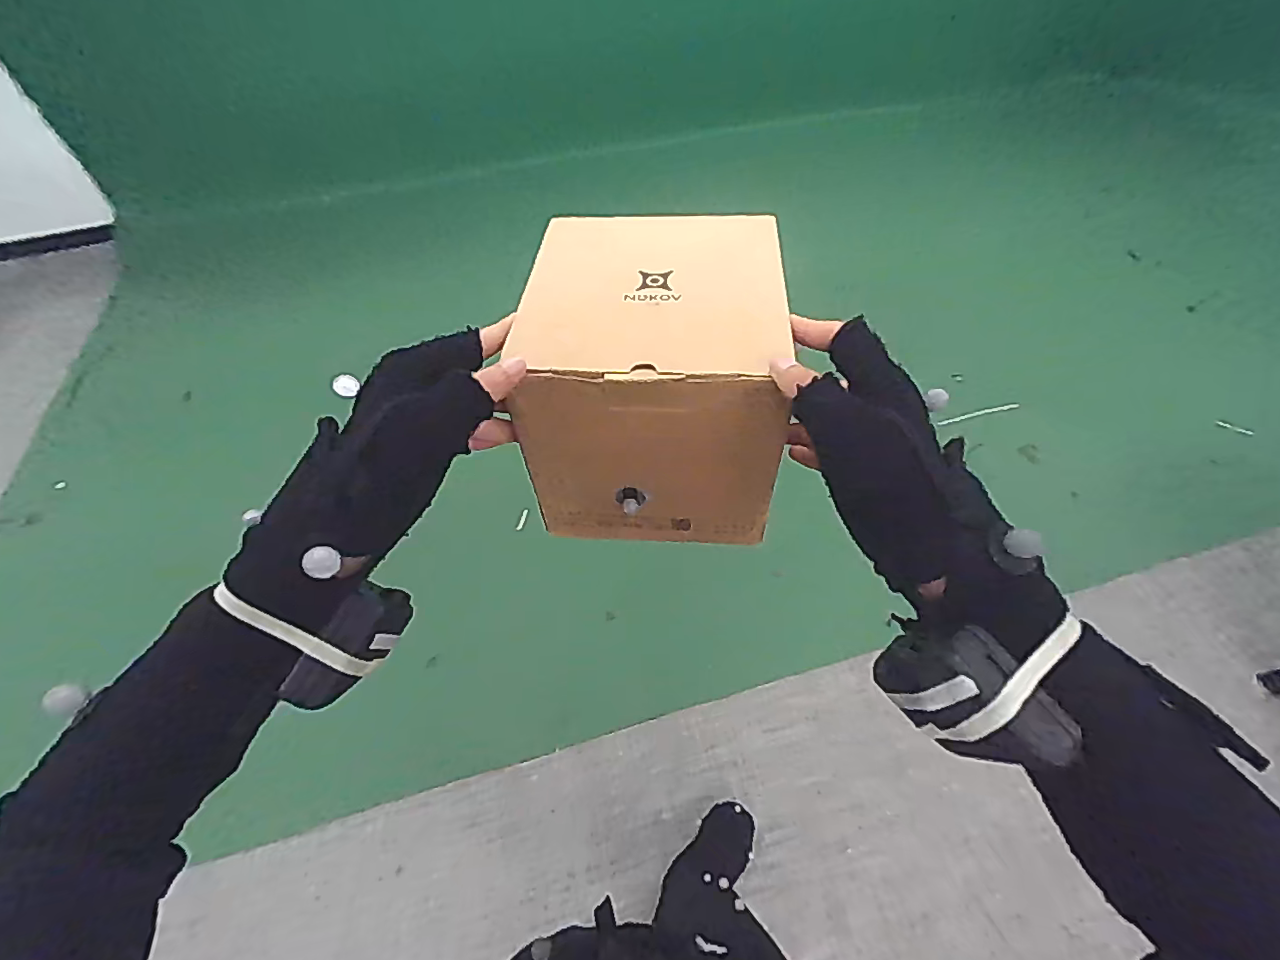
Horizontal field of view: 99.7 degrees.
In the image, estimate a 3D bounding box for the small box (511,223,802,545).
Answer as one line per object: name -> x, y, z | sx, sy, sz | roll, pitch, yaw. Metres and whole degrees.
small box -> 0.017, -0.071, 0.411 | 0.168, 0.176, 0.179 | 2, 52, 5
